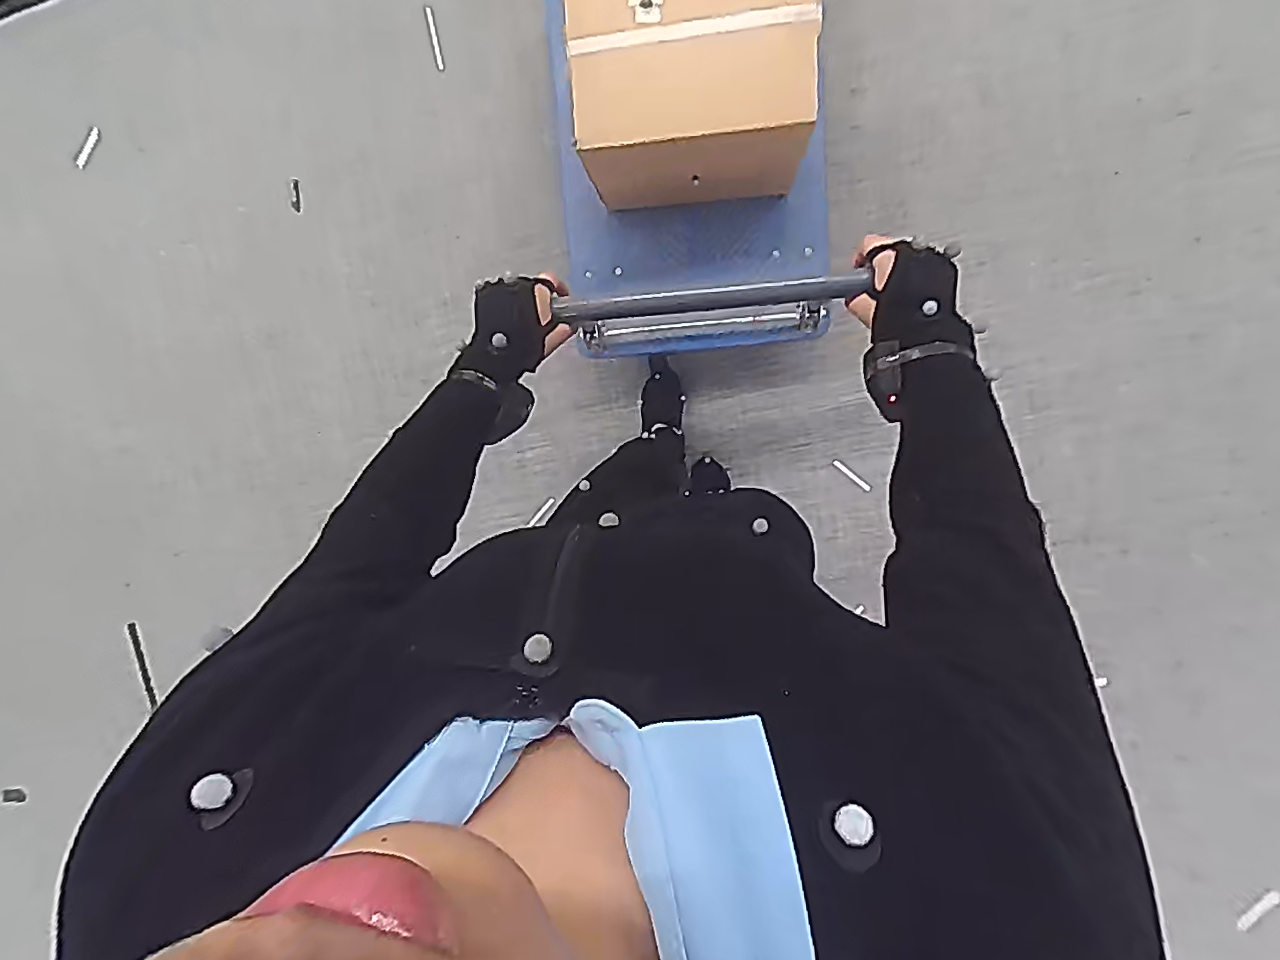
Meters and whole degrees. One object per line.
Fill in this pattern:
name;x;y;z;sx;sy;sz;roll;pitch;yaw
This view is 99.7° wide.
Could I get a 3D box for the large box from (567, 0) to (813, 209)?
large box;0.100;-0.754;1.042;0.408;0.320;0.320;-3;96;8
